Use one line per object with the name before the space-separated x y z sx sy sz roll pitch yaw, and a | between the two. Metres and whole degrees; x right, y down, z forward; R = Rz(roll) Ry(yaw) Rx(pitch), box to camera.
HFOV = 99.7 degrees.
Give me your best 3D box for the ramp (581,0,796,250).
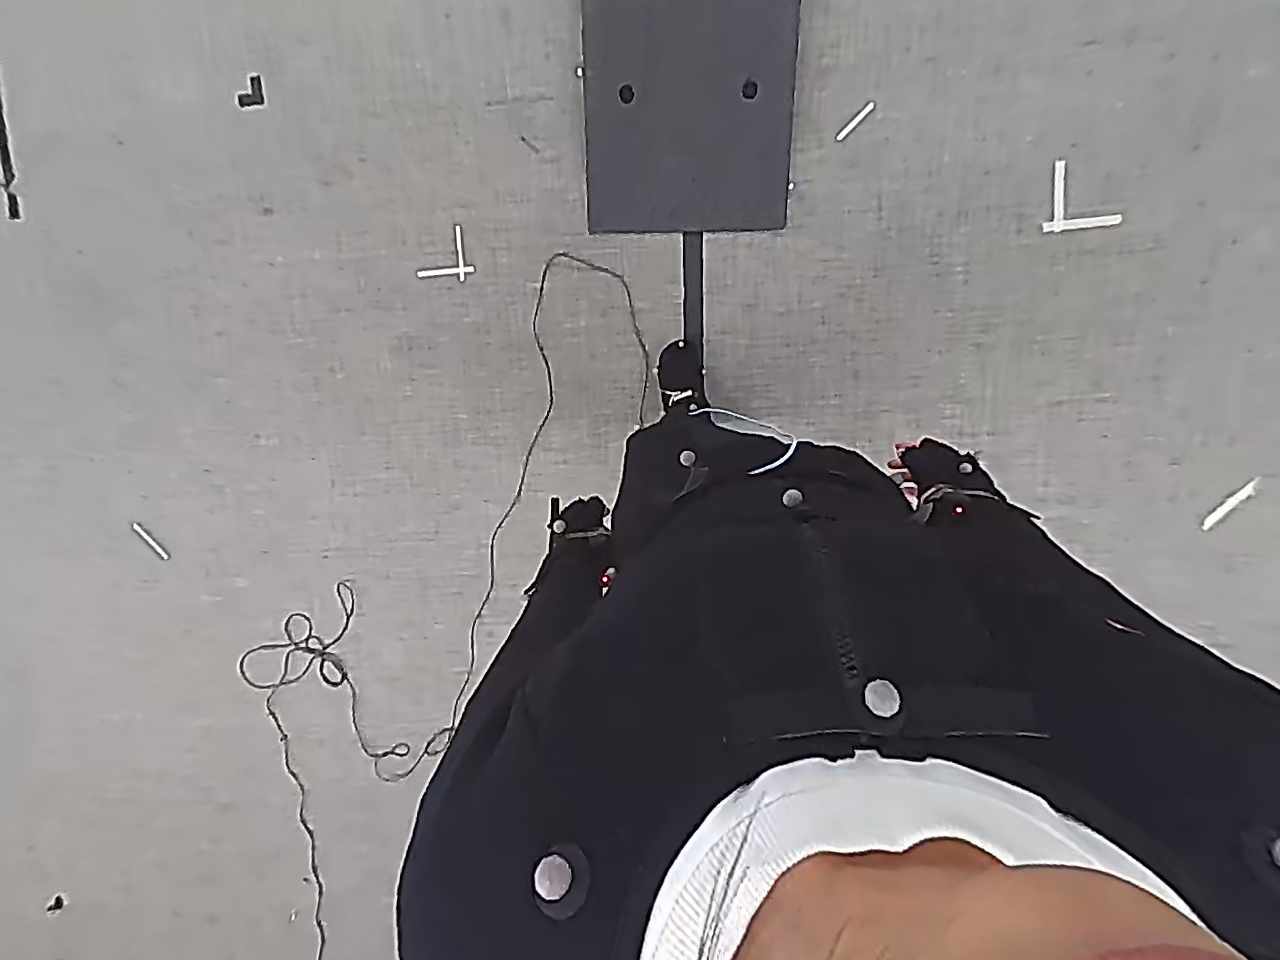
ramp | 0.110 -1.074 1.231 0.509 0.206 0.991 -2 97 5
